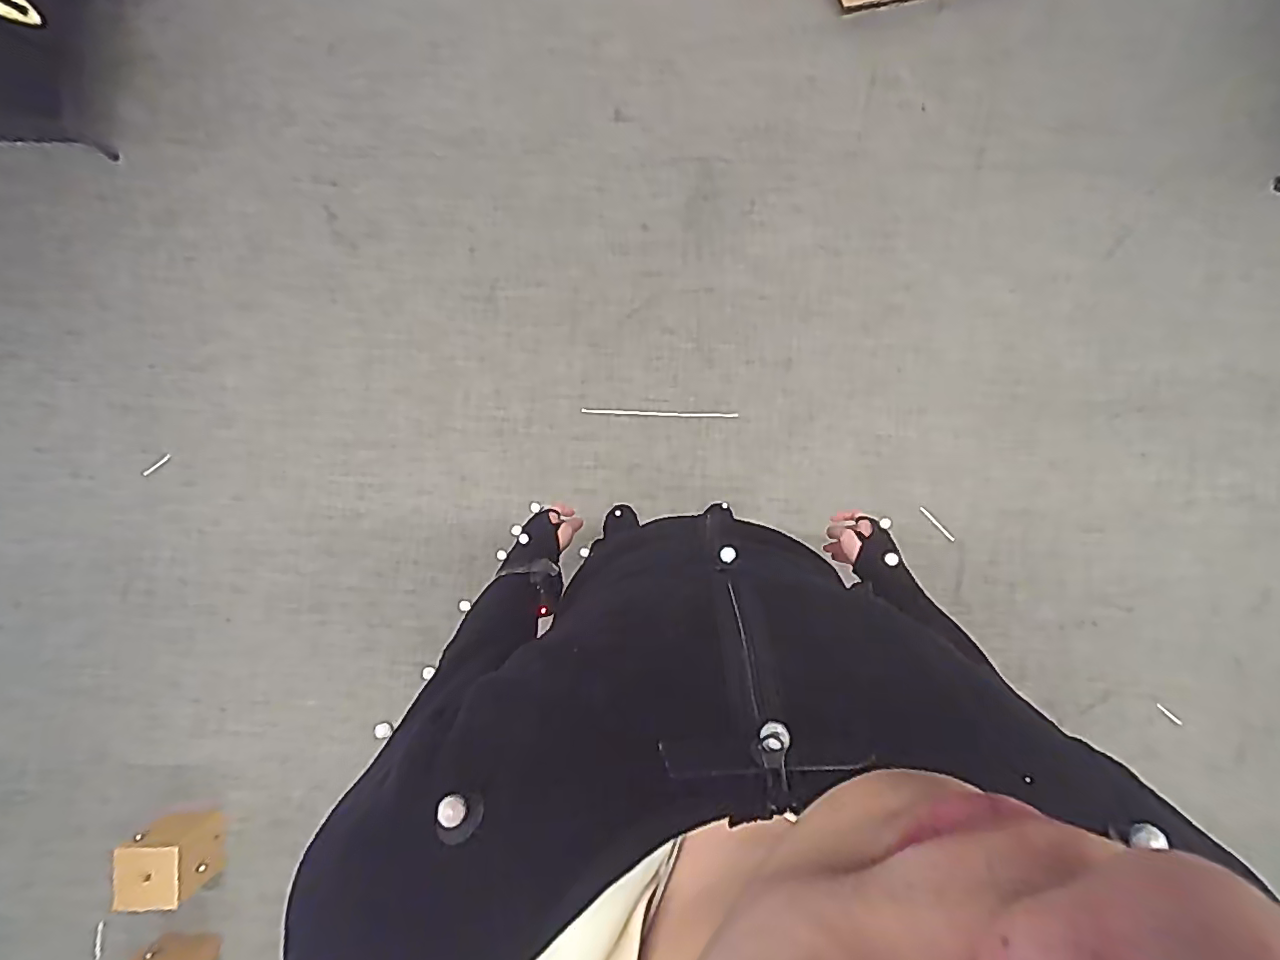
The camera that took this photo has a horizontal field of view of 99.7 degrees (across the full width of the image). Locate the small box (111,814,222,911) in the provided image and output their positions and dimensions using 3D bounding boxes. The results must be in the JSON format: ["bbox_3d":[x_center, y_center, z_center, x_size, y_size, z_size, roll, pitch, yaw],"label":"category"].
[{"bbox_3d":[-1.319,1.064,1.516,0.179,0.176,0.168,-2,87,1],"label":"small box"}]

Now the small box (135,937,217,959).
[{"bbox_3d":[-1.325,1.413,1.495,0.179,0.176,0.168,1,87,0],"label":"small box"}]
